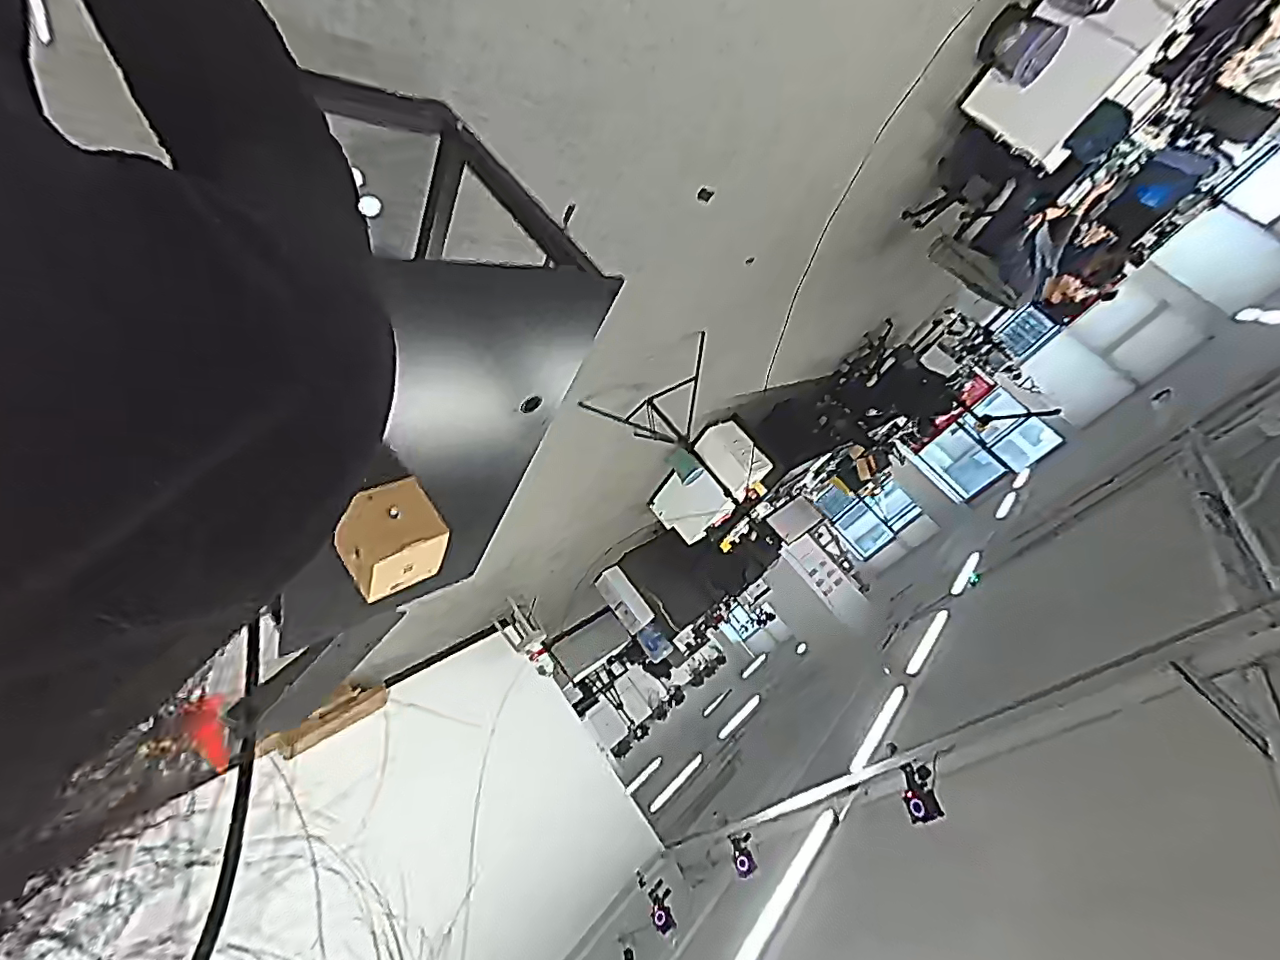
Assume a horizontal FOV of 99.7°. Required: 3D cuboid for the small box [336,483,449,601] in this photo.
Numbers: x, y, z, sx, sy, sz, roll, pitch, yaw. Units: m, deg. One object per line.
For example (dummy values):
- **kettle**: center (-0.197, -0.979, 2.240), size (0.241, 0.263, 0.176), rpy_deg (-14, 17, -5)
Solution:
- **small box**: center (-0.549, 0.127, 1.194), size (0.168, 0.176, 0.179), rpy_deg (-24, 156, -43)
